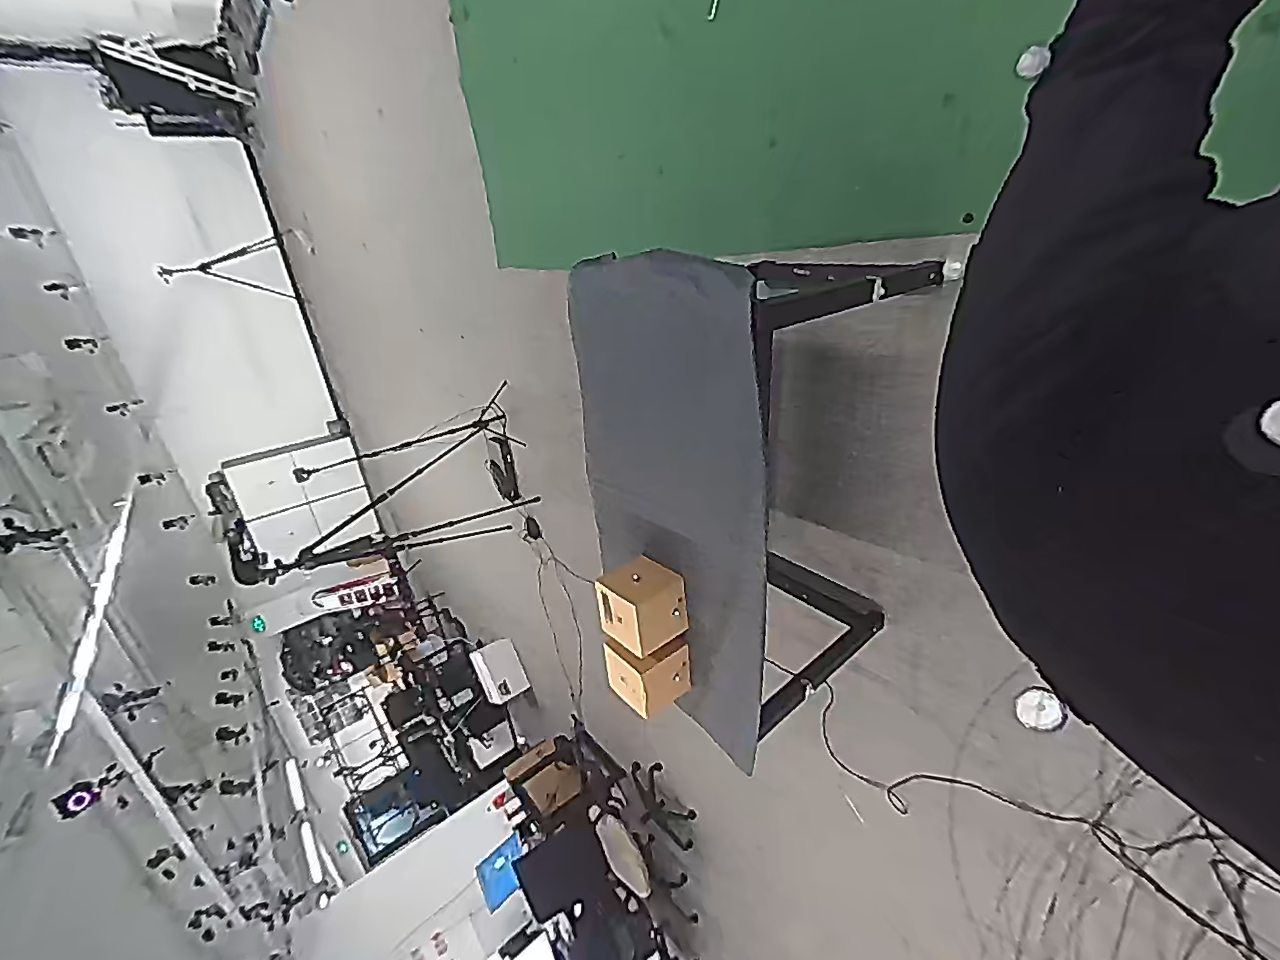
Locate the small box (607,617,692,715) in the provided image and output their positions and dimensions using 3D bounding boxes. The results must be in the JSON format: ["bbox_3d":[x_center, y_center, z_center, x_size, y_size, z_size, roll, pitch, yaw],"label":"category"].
[{"bbox_3d":[0.028,0.514,1.529,0.179,0.176,0.168,23,127,47],"label":"small box"}]
